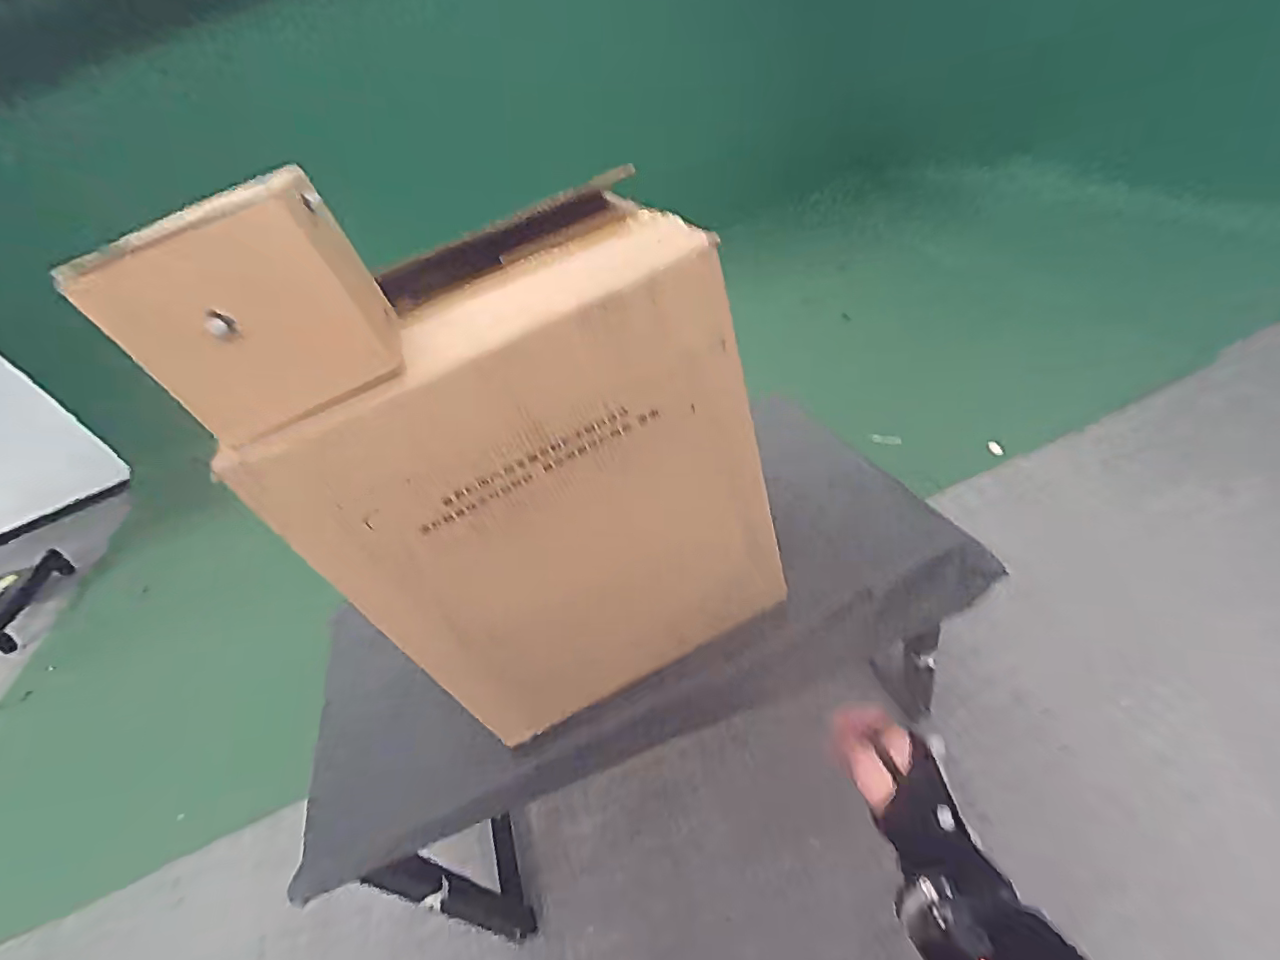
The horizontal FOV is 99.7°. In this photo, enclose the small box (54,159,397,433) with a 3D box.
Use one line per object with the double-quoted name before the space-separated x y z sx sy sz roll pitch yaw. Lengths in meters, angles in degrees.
"small box" -0.361 -0.174 0.517 0.179 0.176 0.168 -28 42 -4
